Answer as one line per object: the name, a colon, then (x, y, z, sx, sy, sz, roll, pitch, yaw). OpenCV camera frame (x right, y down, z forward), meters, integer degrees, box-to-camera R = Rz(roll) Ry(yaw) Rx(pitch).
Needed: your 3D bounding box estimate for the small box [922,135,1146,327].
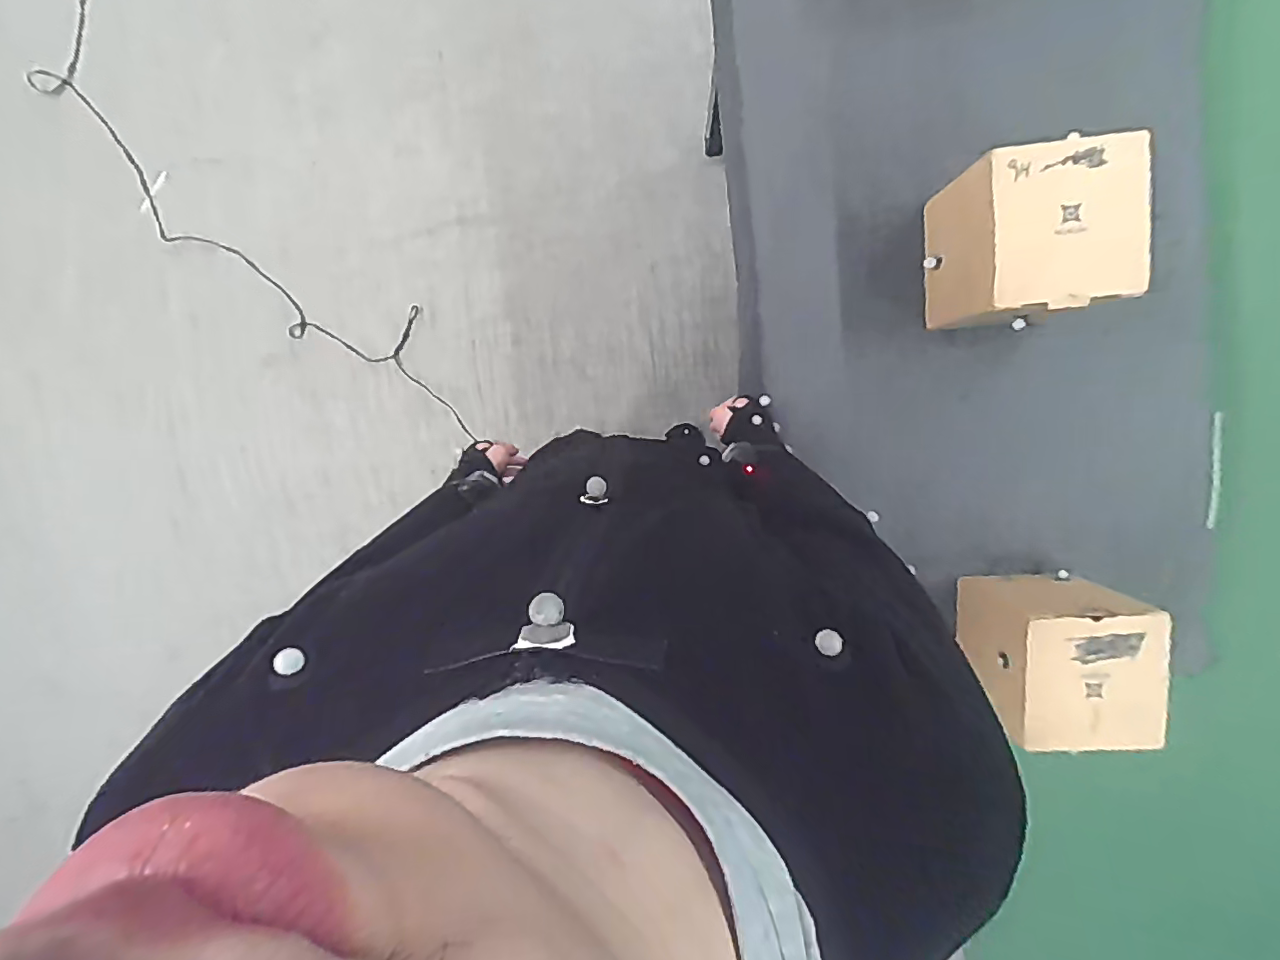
small box: (0.479, -0.295, 0.683, 0.168, 0.176, 0.179, -5, 97, 1)

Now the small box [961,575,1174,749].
small box: (0.565, 0.234, 0.738, 0.168, 0.176, 0.179, -4, 97, 2)
